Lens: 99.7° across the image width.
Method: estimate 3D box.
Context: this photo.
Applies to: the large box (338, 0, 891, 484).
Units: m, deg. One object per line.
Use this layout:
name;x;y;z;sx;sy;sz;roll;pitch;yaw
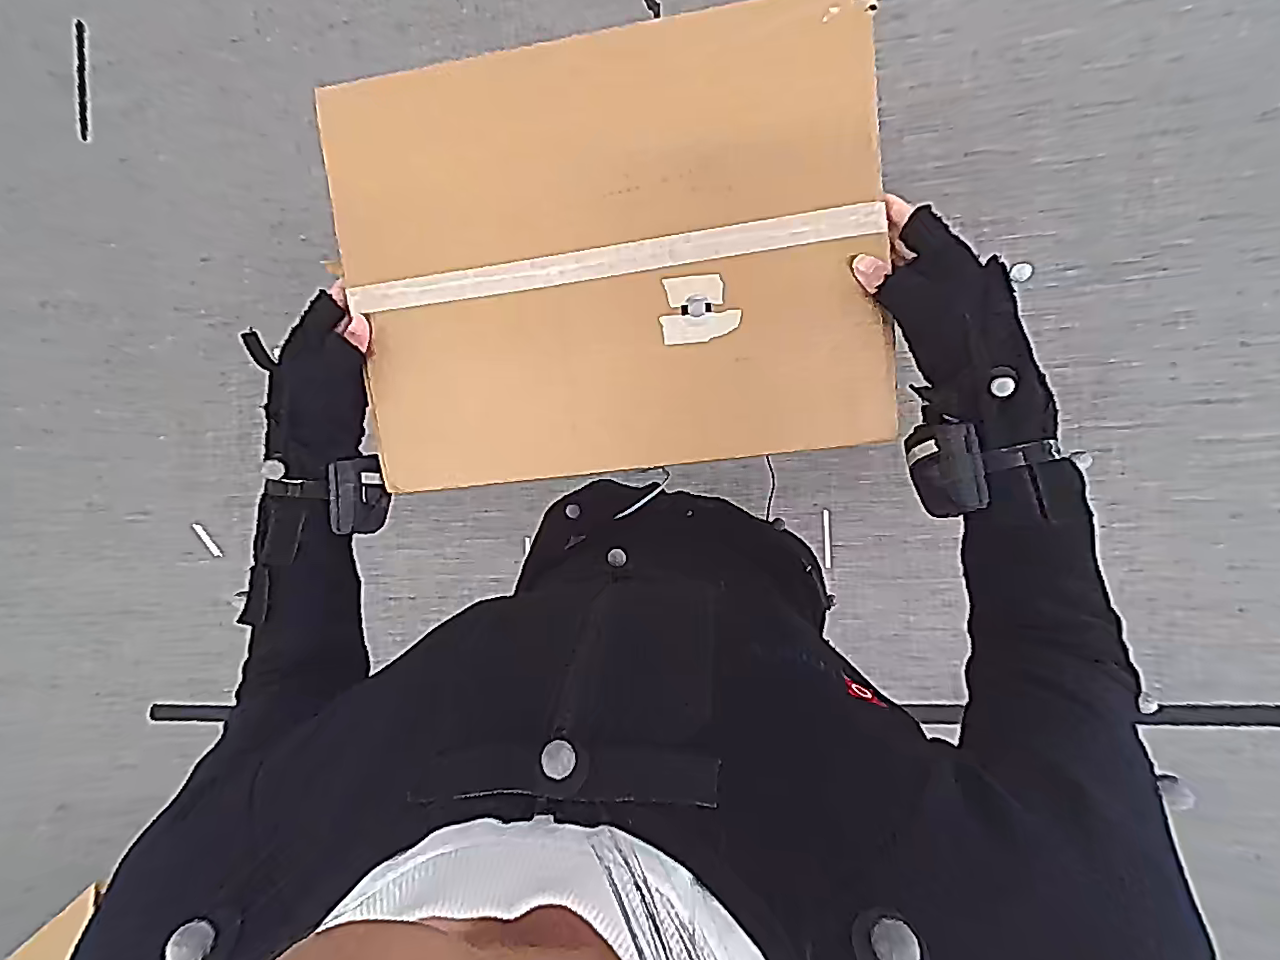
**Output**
large box;-0.010;-0.189;0.564;0.408;0.320;0.320;-7;98;6
